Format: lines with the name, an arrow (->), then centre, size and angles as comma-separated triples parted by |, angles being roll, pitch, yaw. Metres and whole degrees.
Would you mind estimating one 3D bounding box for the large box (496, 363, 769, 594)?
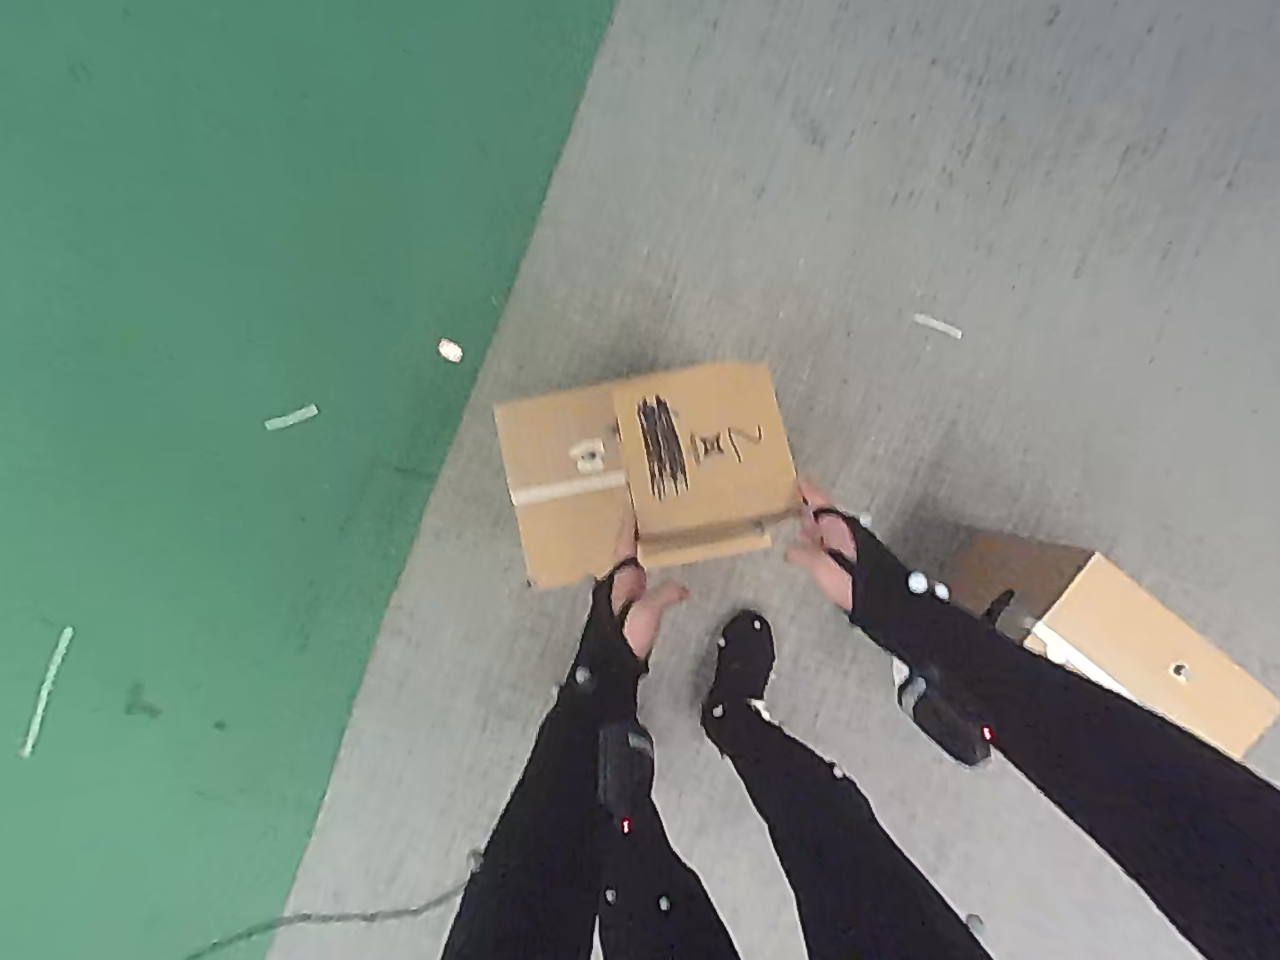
large box -> -0.009, -0.009, 1.023 | 0.408, 0.320, 0.320 | -11, 92, 1
